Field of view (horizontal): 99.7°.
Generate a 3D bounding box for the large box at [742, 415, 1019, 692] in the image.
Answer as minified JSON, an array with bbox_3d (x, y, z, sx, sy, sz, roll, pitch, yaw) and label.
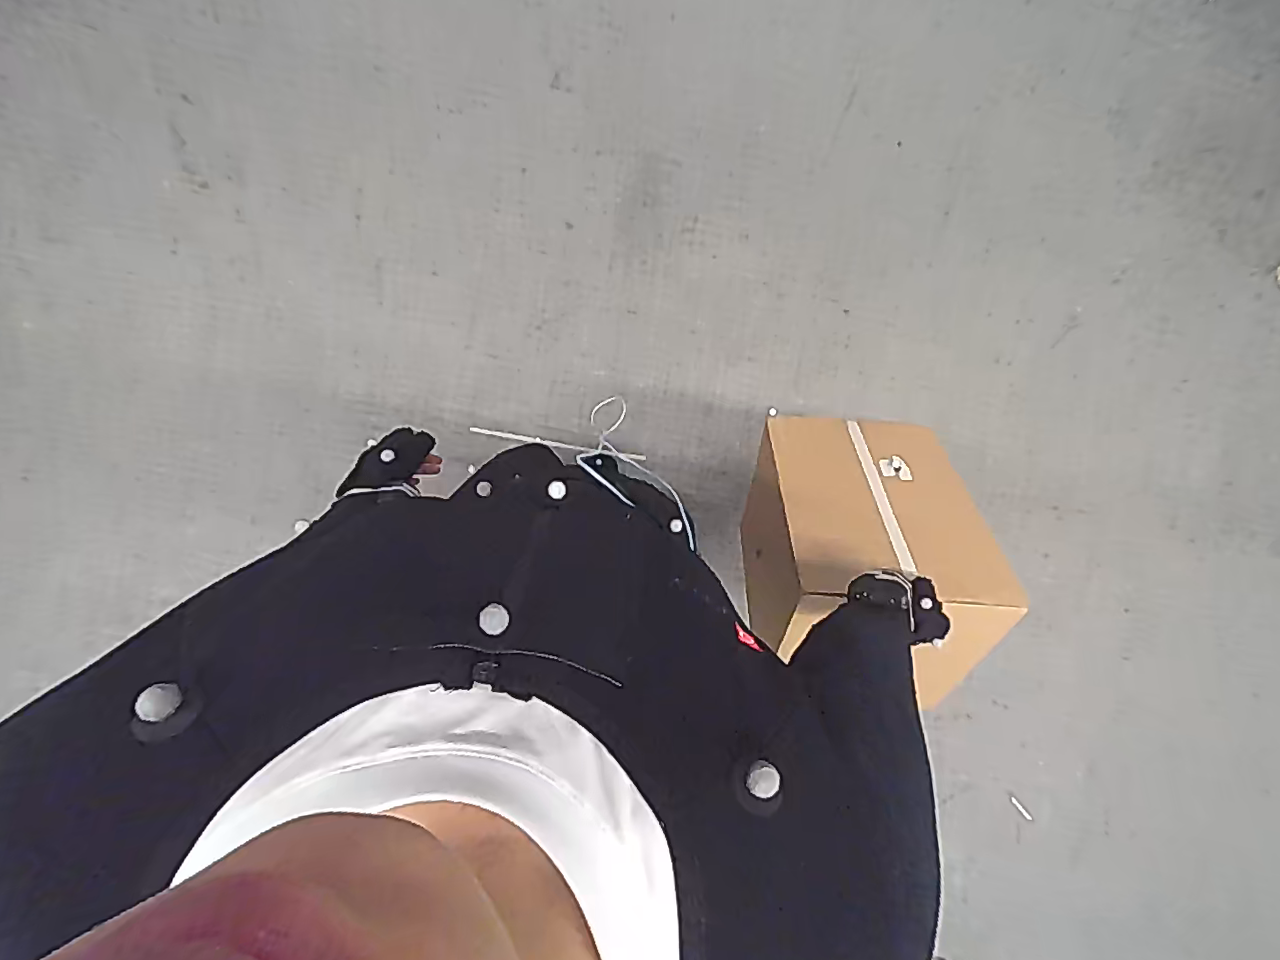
[{"bbox_3d":[0.379,0.128,0.993,0.320,0.408,0.320,4,133,0],"label":"large box"}]
